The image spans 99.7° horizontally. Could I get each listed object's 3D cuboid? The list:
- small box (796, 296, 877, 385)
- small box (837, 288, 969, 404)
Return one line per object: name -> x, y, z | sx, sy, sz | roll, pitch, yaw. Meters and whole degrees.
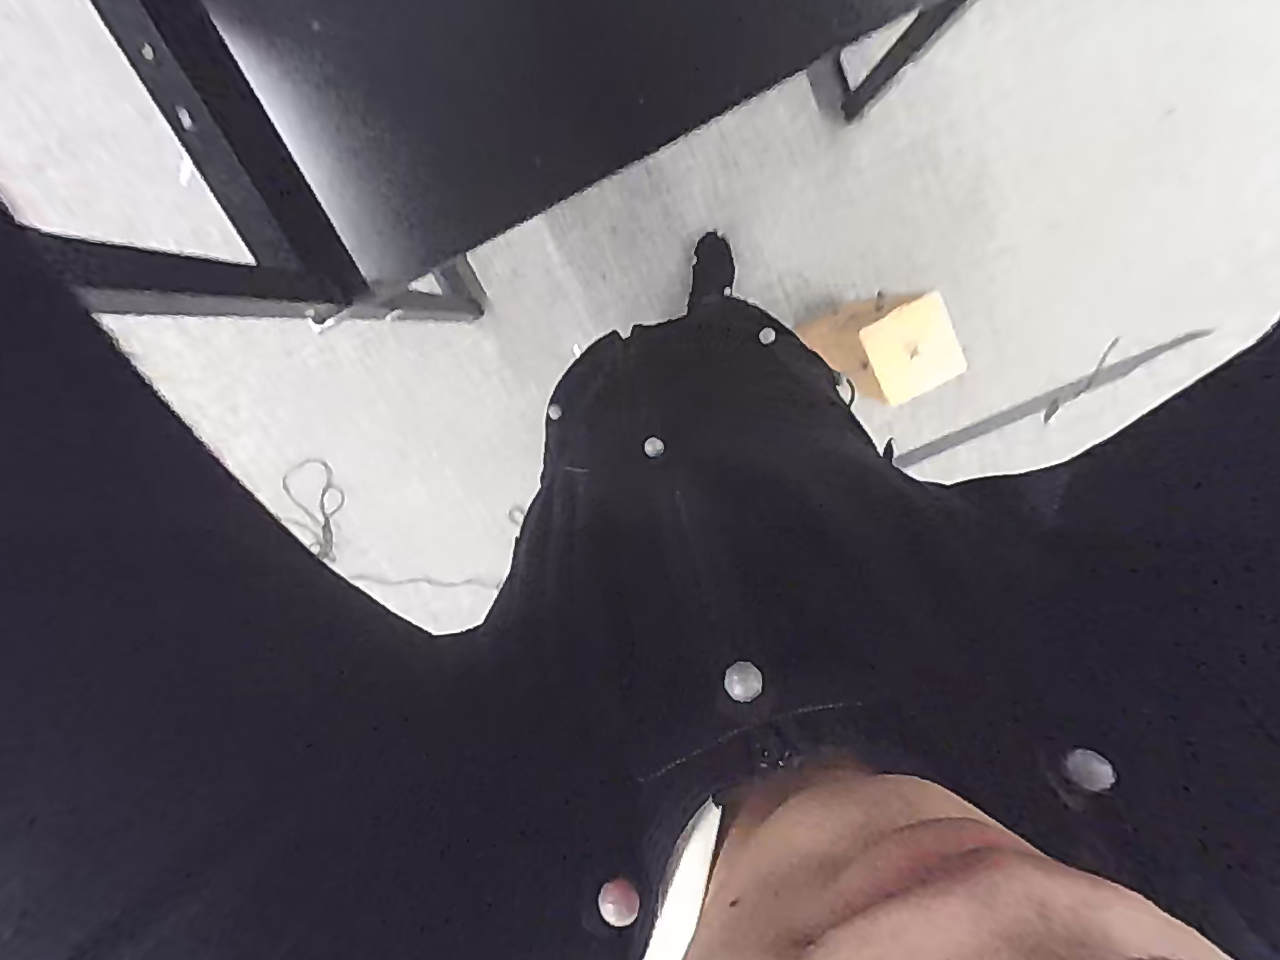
small box -> 0.545, -0.376, 1.452 | 0.179, 0.176, 0.168 | -27, 103, 9
small box -> 0.544, -0.283, 1.138 | 0.168, 0.176, 0.179 | -28, 103, 9
